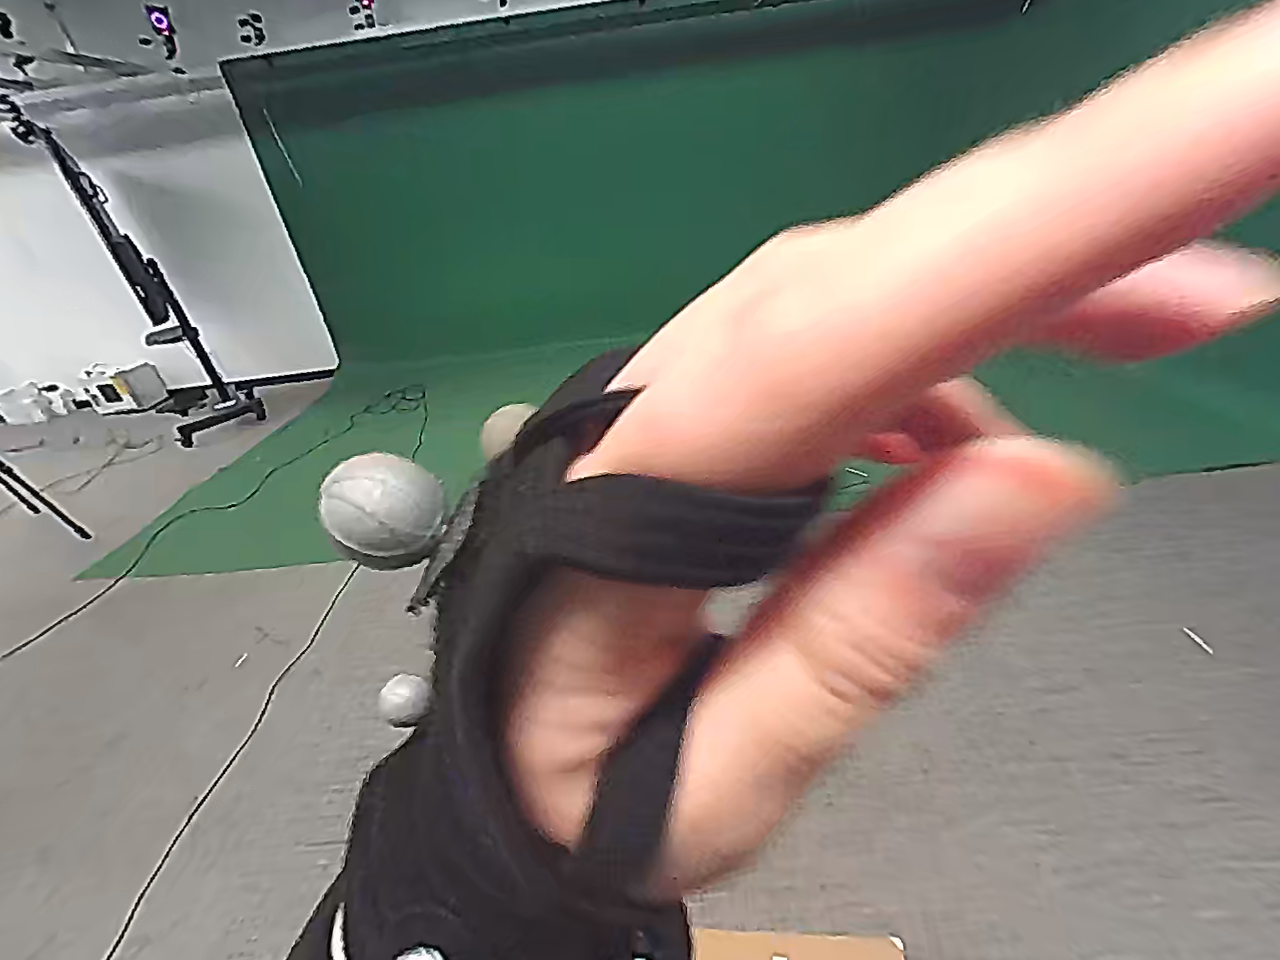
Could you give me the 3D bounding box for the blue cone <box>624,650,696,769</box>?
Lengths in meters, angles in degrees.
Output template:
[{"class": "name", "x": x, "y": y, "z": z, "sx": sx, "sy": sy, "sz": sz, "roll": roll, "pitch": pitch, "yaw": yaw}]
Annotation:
[{"class": "blue cone", "x": 0.045, "y": 0.641, "z": 1.588, "sx": 0.192, "sy": 0.380, "sz": 0.193, "roll": 14, "pitch": 36, "yaw": 30}]
